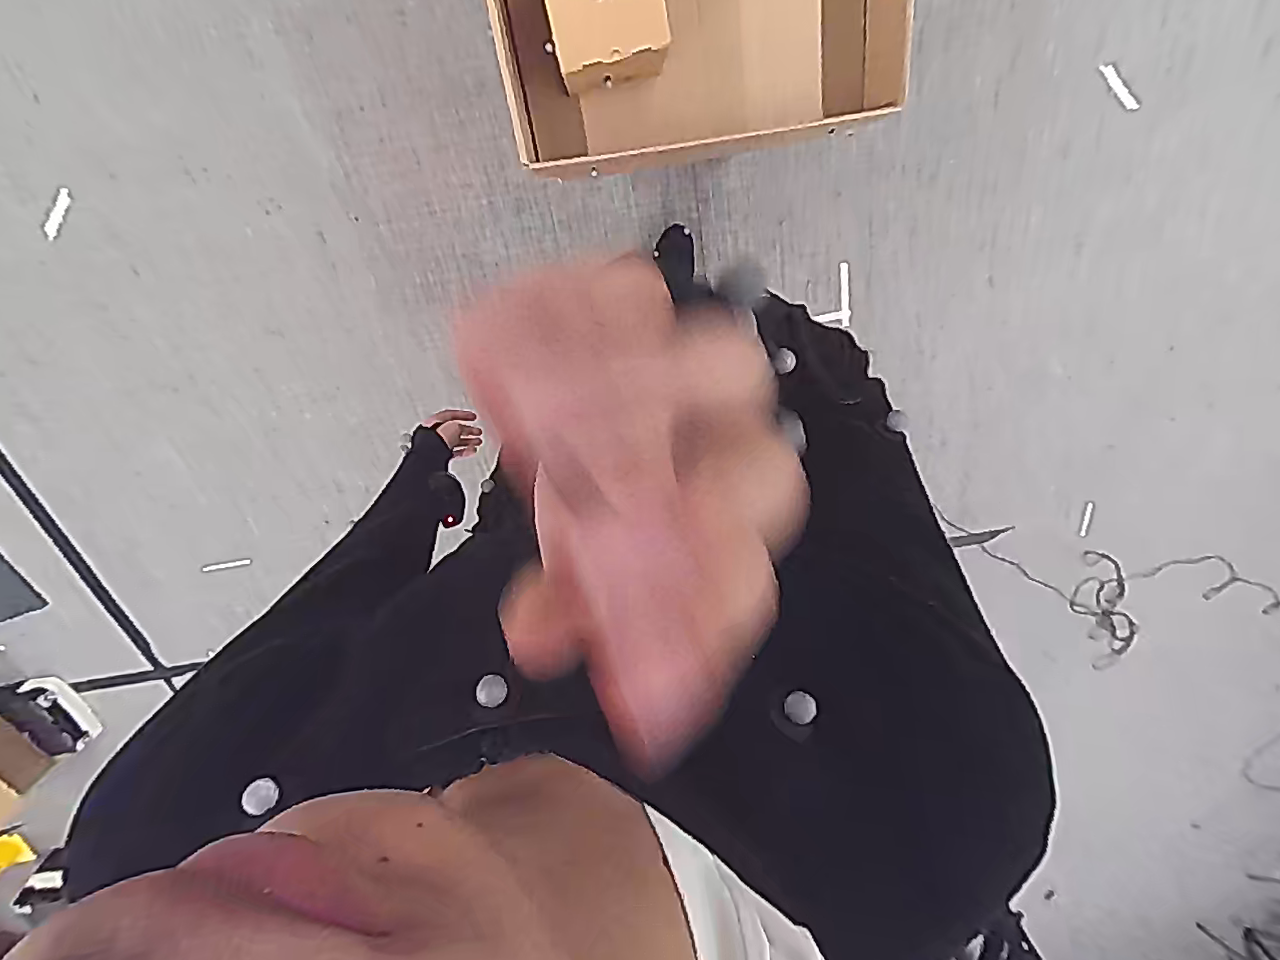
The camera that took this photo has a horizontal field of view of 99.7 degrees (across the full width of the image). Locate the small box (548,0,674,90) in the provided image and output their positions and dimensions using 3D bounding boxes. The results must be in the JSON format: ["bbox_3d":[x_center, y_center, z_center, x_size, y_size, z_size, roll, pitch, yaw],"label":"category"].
[{"bbox_3d":[-0.053,-0.720,0.806,0.168,0.176,0.179,-13,117,3],"label":"small box"}]
